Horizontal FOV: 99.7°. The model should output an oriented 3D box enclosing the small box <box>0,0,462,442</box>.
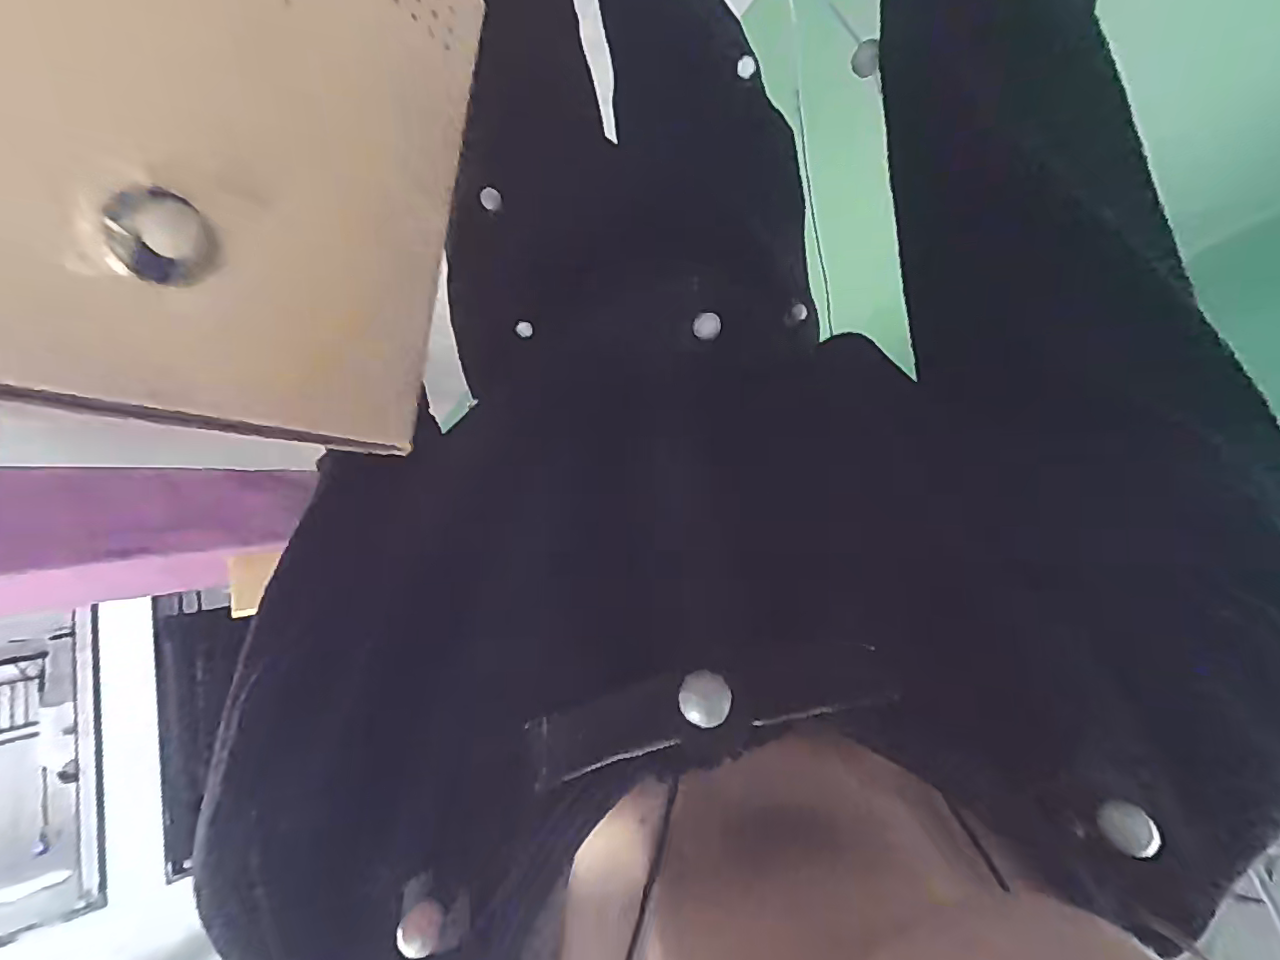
[{"bbox_3d":[-0.178,-0.114,0.155,0.168,0.176,0.179,8,178,31],"label":"small box"}]
